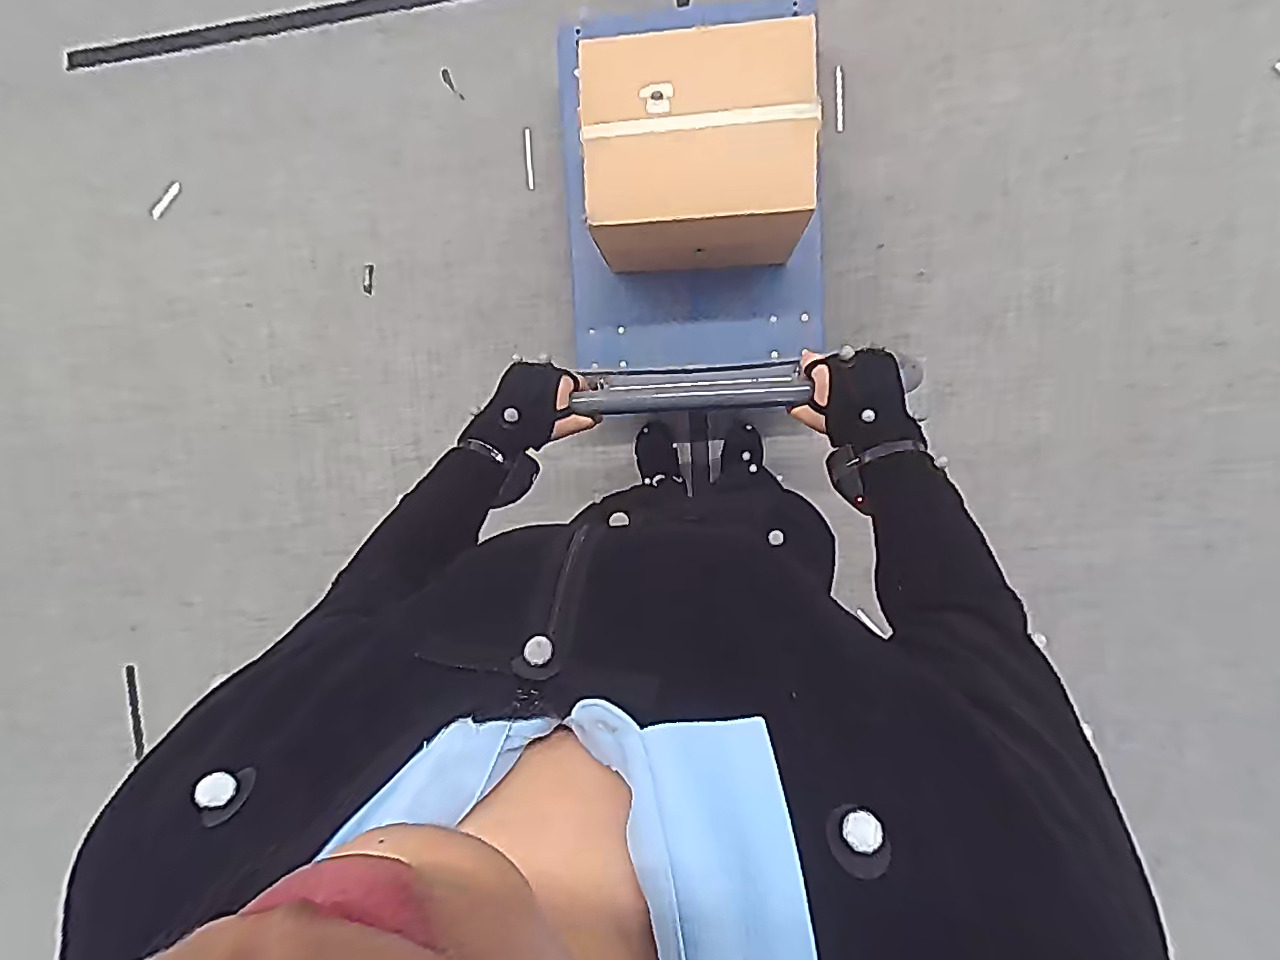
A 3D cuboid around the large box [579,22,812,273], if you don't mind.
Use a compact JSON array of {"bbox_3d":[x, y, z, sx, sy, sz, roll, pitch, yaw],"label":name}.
[{"bbox_3d":[0.114,-0.630,1.096,0.408,0.320,0.320,-2,95,7],"label":"large box"}]
